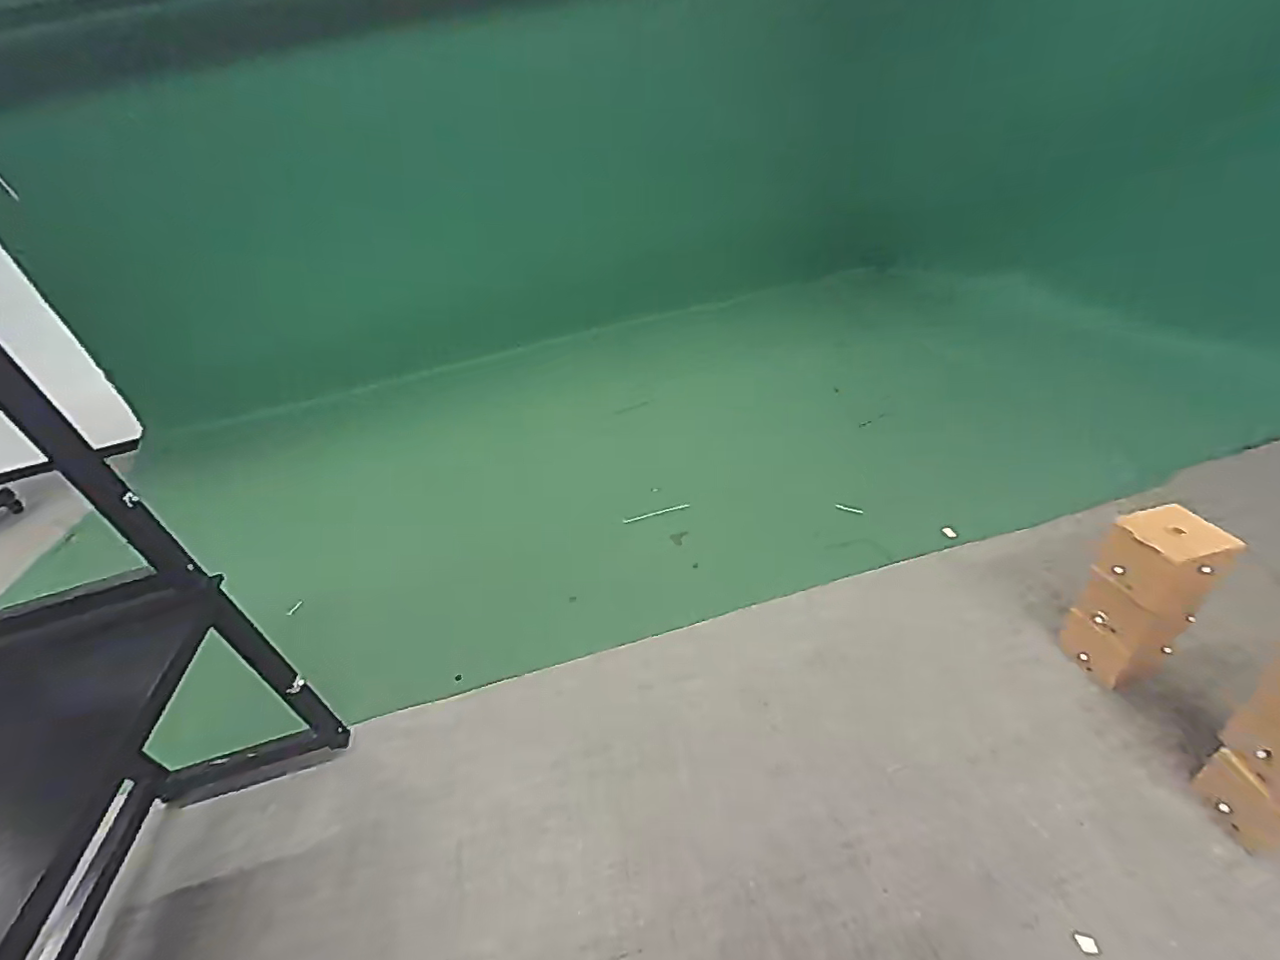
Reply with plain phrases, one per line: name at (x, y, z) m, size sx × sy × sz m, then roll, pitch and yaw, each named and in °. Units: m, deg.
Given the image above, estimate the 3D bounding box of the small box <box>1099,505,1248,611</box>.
small box at (1.284, 0.191, 1.319) m, size 0.179 × 0.176 × 0.168 m, roll -13°, pitch 34°, yaw -3°

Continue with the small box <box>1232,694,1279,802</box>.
small box at (1.360, 0.546, 1.080) m, size 0.179 × 0.176 × 0.168 m, roll -7°, pitch 35°, yaw 7°

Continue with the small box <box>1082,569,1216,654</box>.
small box at (1.314, 0.321, 1.412) m, size 0.179 × 0.176 × 0.168 m, roll -17°, pitch 35°, yaw -8°

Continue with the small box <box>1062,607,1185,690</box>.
small box at (1.334, 0.450, 1.508) m, size 0.179 × 0.176 × 0.168 m, roll -17°, pitch 35°, yaw -8°

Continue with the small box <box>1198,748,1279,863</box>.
small box at (1.378, 0.689, 1.157) m, size 0.179 × 0.176 × 0.168 m, roll -10°, pitch 34°, yaw 4°
